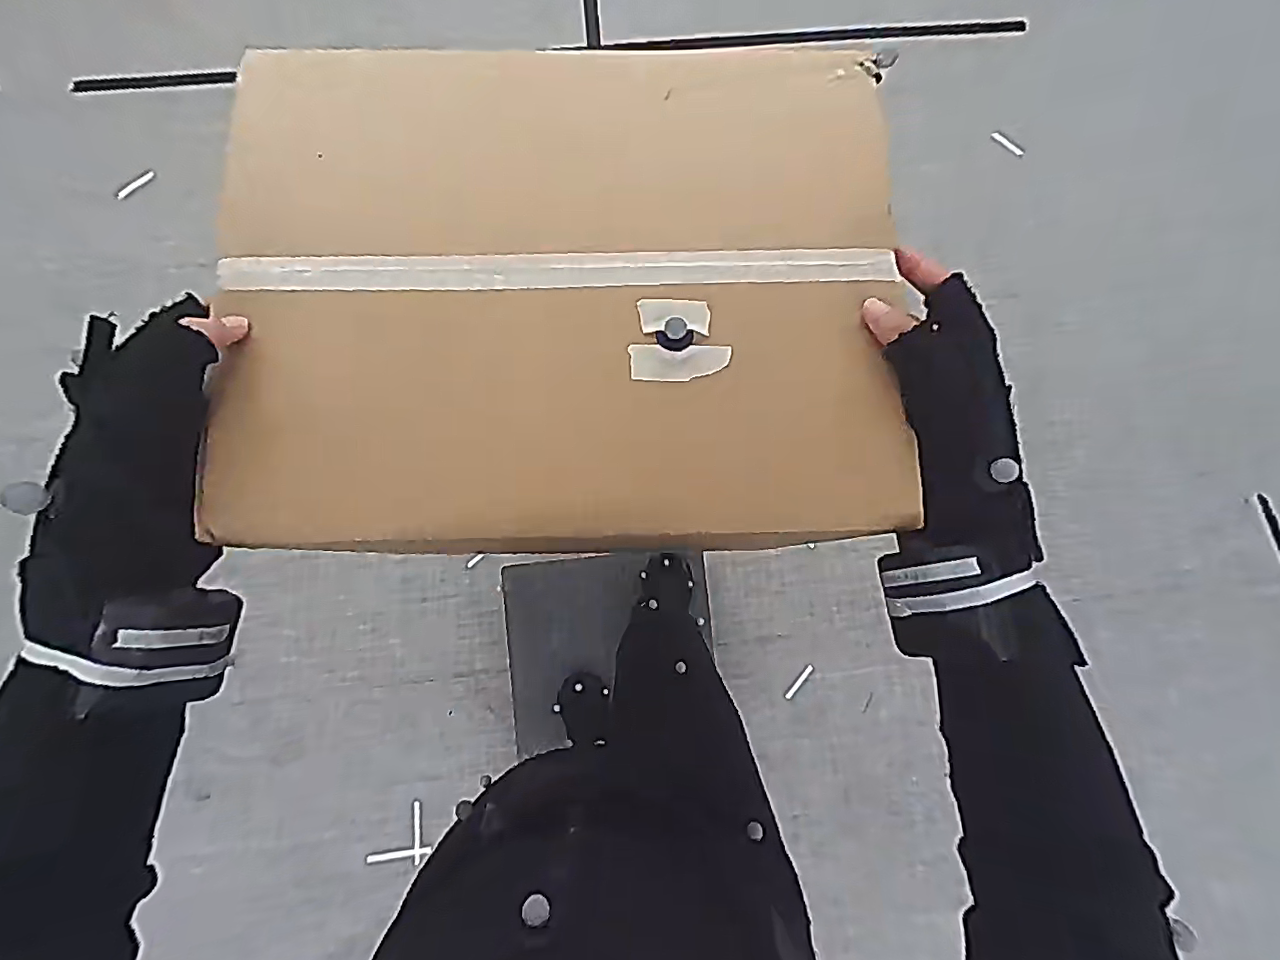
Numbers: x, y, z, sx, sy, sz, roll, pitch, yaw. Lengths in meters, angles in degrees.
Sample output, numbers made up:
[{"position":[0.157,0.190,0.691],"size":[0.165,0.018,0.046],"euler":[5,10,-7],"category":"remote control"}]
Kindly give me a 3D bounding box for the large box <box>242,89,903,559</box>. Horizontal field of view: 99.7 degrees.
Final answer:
[{"position":[-0.046,-0.094,0.494],"size":[0.408,0.320,0.320],"euler":[-1,81,-2],"category":"large box"}]
